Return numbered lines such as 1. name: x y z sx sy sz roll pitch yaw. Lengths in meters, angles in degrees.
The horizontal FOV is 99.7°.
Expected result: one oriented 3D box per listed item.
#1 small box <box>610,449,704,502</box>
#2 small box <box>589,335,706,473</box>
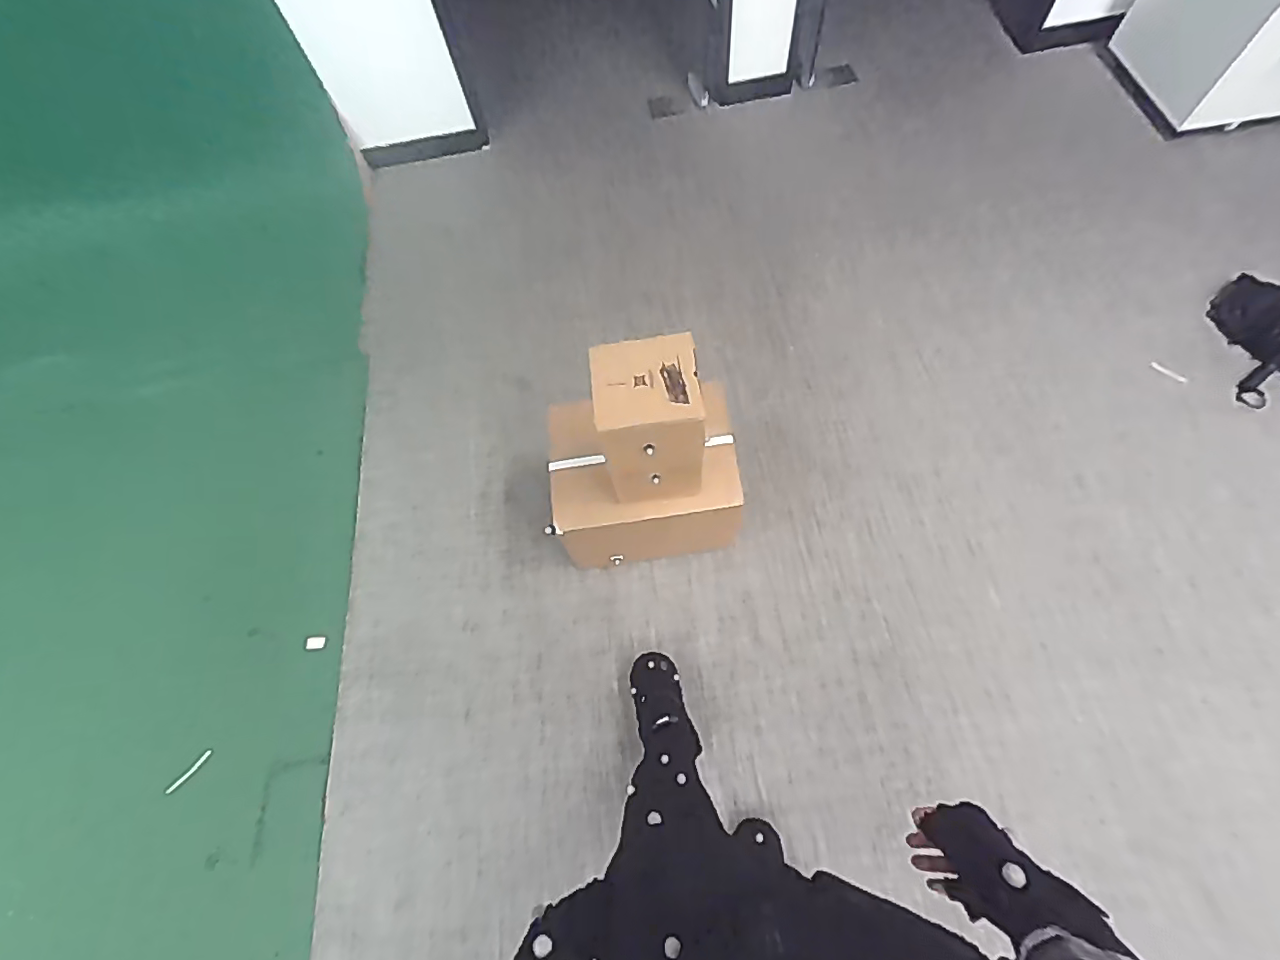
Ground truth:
1. small box: 0.029 -0.065 1.093 0.179 0.176 0.168 -9 67 1
2. small box: 0.015 -0.125 0.940 0.179 0.176 0.168 -9 67 4
